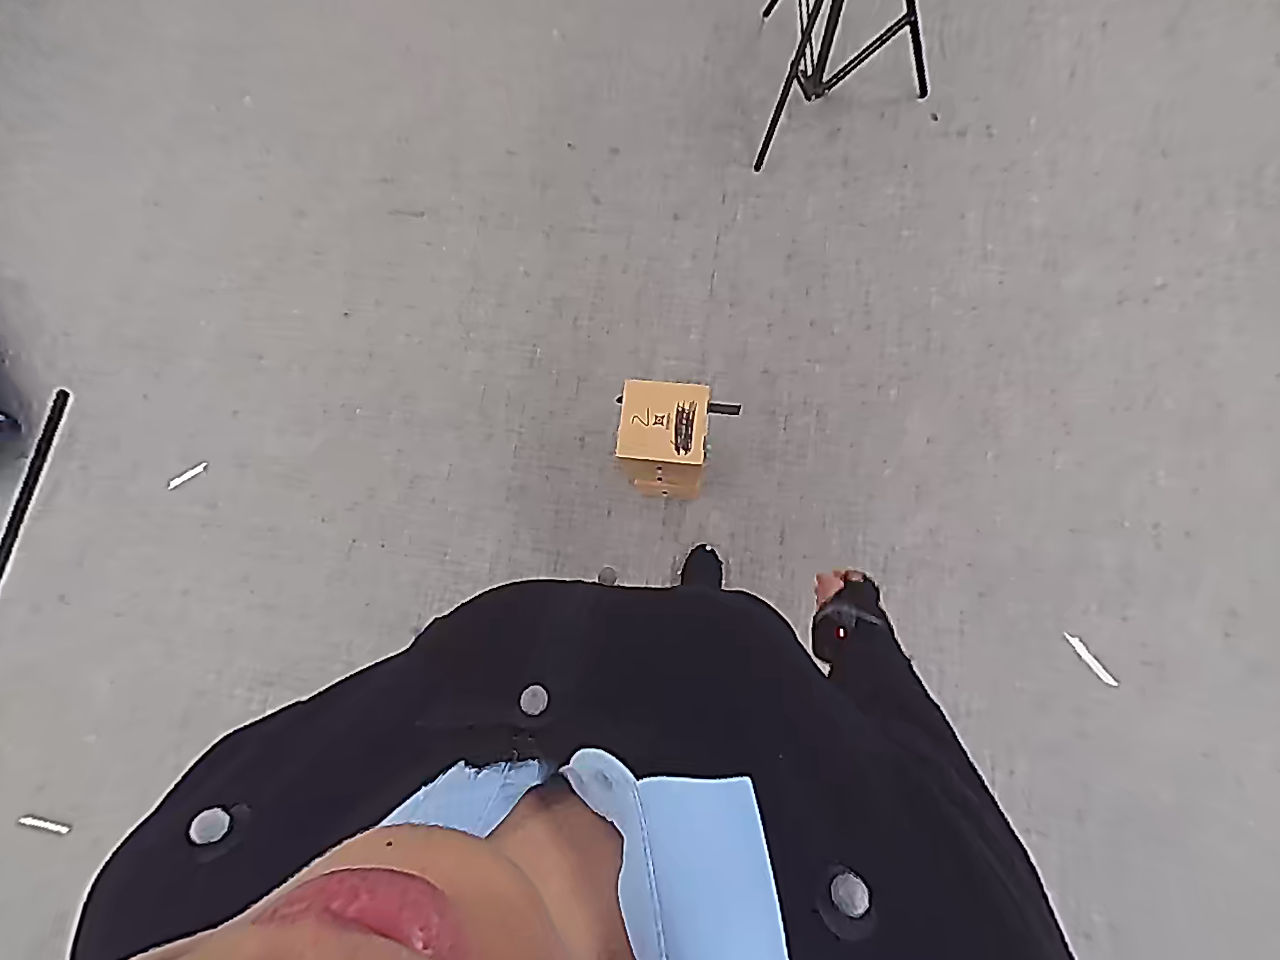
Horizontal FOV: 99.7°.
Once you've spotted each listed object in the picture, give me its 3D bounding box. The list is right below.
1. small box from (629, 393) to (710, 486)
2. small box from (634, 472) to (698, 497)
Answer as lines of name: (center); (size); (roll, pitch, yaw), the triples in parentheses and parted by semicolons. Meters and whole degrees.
small box: (0.073, -0.093, 1.313); (0.168, 0.176, 0.179); (8, 80, 6)
small box: (0.081, -0.053, 1.471); (0.168, 0.176, 0.179); (6, 79, 5)
